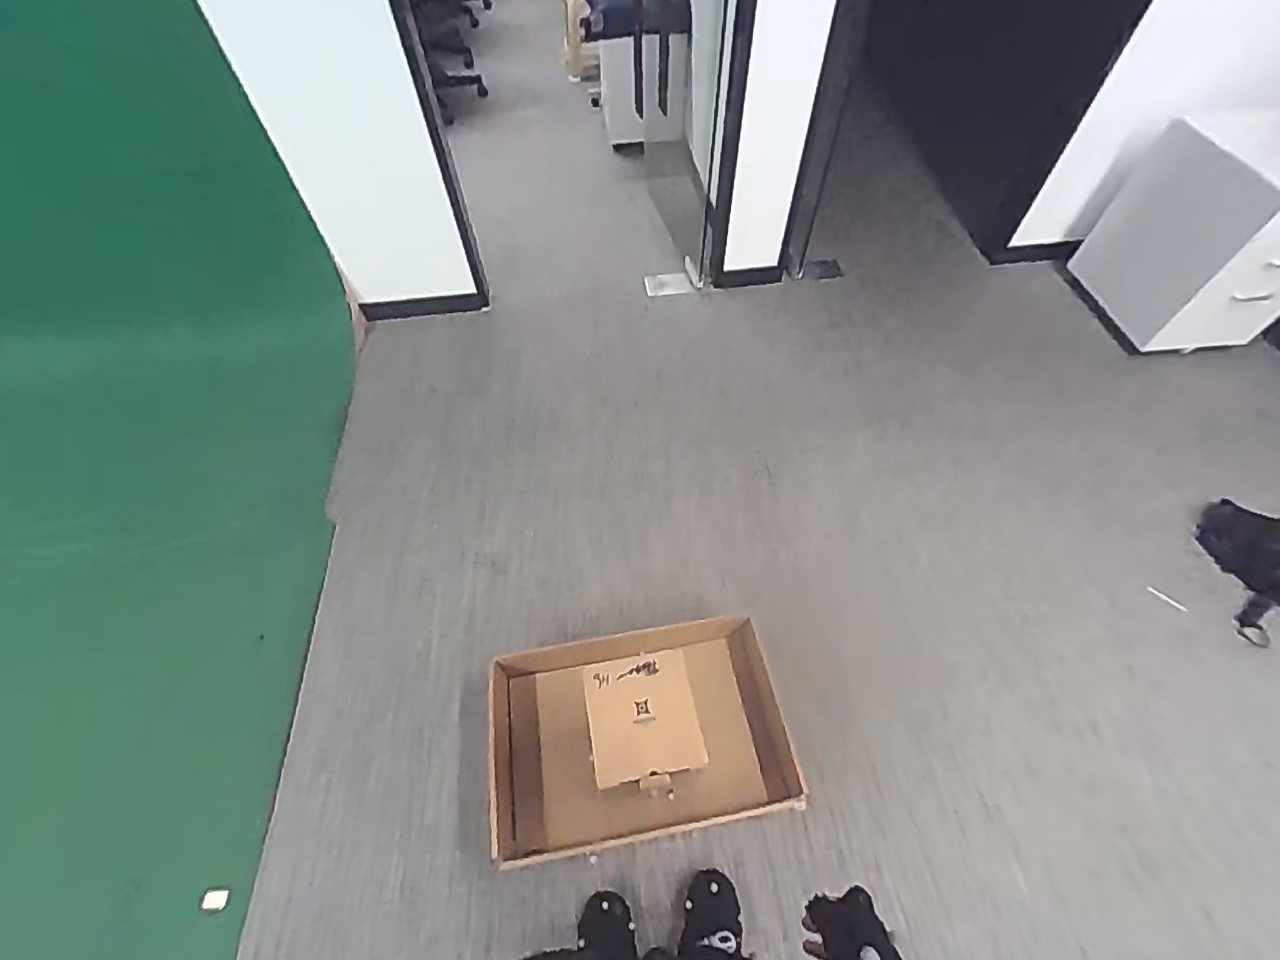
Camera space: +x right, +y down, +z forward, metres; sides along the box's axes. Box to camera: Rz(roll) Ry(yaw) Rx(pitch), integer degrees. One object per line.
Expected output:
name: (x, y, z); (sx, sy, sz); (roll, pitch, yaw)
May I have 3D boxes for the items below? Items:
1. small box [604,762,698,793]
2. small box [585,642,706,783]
small box: (0.005, 0.475, 1.018); (0.168, 0.176, 0.179); (-12, 57, -7)
small box: (0.006, 0.391, 0.897); (0.168, 0.176, 0.179); (-9, 57, -6)
